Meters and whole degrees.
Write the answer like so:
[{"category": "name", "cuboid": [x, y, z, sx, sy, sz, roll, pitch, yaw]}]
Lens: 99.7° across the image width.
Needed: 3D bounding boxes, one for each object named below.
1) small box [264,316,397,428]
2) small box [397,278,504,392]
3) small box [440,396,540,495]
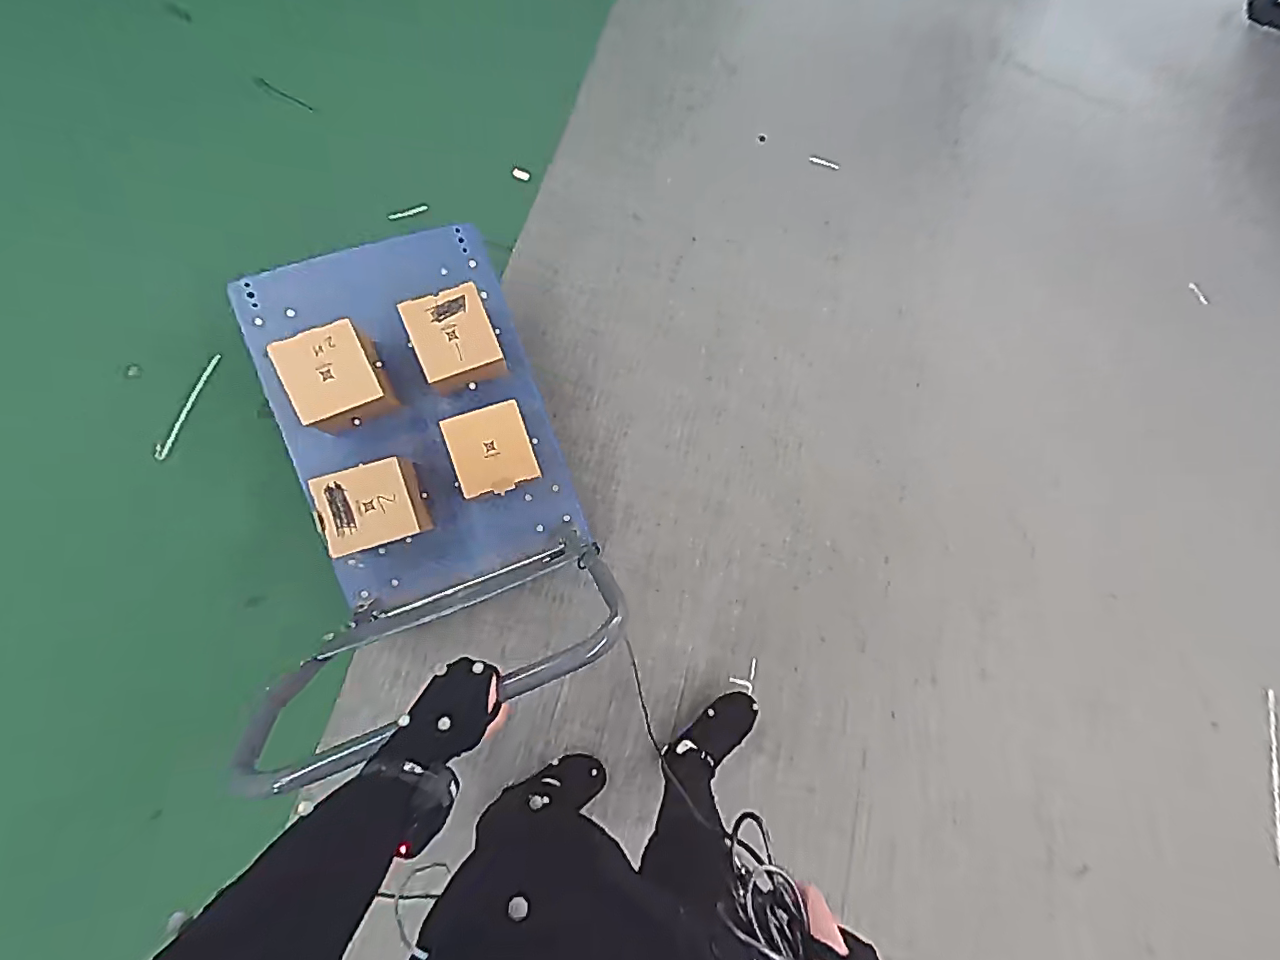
[{"category": "small box", "cuboid": [-0.645, -0.220, 1.153, 0.168, 0.176, 0.179, -24, 93, -11]}, {"category": "small box", "cuboid": [-0.412, -0.314, 1.201, 0.168, 0.176, 0.179, -22, 93, -10]}, {"category": "small box", "cuboid": [-0.332, -0.071, 1.213, 0.168, 0.176, 0.179, -19, 94, -11]}]
